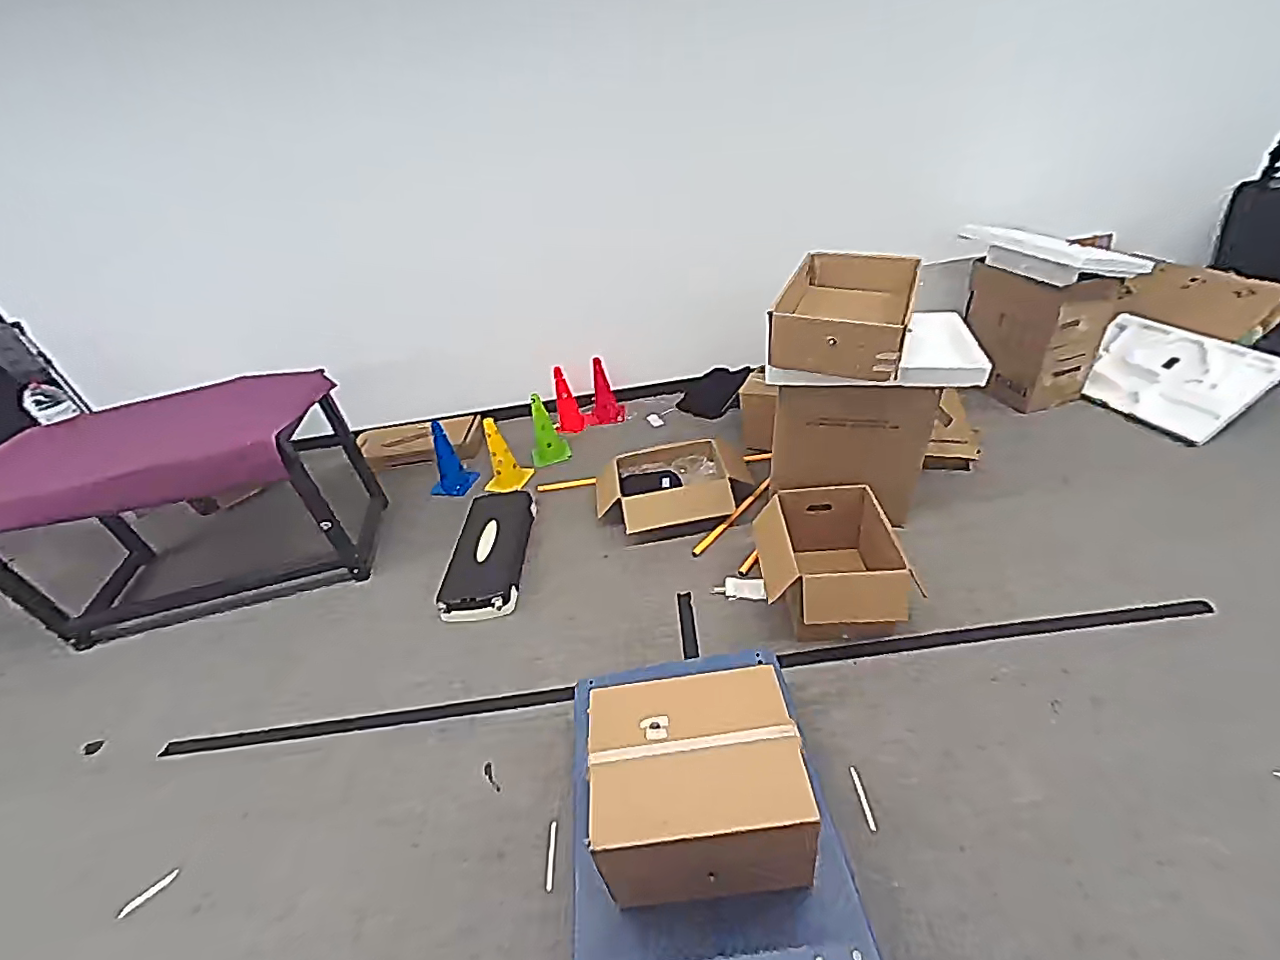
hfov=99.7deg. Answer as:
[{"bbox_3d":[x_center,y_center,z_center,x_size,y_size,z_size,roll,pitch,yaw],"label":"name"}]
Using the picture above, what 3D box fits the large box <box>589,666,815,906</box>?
[{"bbox_3d":[0.120,0.645,1.147,0.408,0.320,0.320,-10,35,2],"label":"large box"}]
